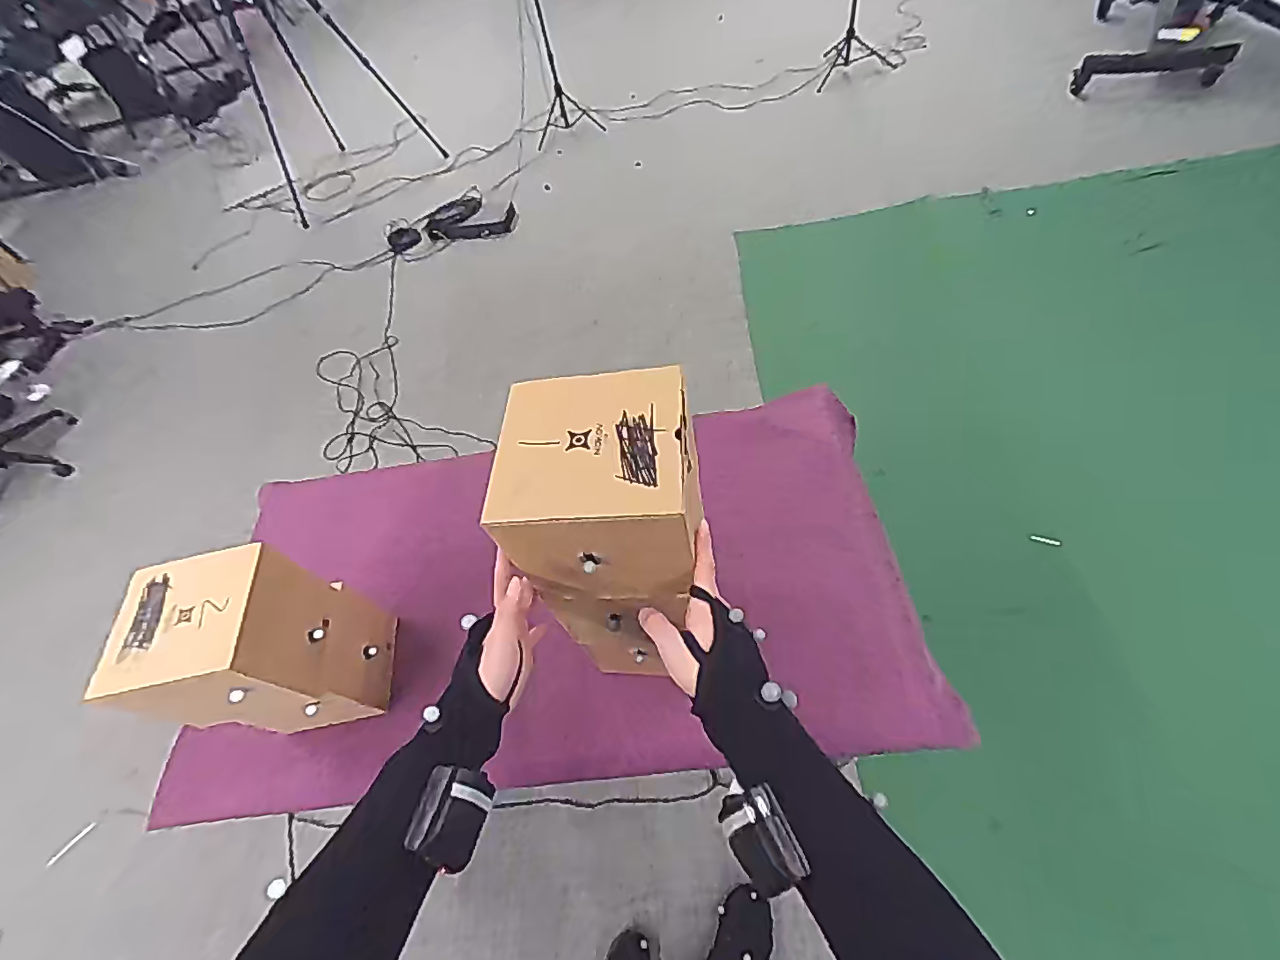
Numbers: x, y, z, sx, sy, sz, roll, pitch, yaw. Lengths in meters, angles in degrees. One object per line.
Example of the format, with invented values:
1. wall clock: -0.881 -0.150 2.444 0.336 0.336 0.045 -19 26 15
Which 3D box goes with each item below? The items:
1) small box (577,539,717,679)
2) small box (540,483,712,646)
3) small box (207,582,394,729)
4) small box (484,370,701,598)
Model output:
1. small box: 0.021 0.193 0.816 0.179 0.176 0.168 1 57 11
2. small box: -0.005 0.104 0.681 0.179 0.176 0.168 -2 57 11
3. small box: -0.516 0.282 0.855 0.179 0.176 0.168 -12 55 3
4. small box: -0.029 0.012 0.547 0.179 0.176 0.168 -3 56 10
